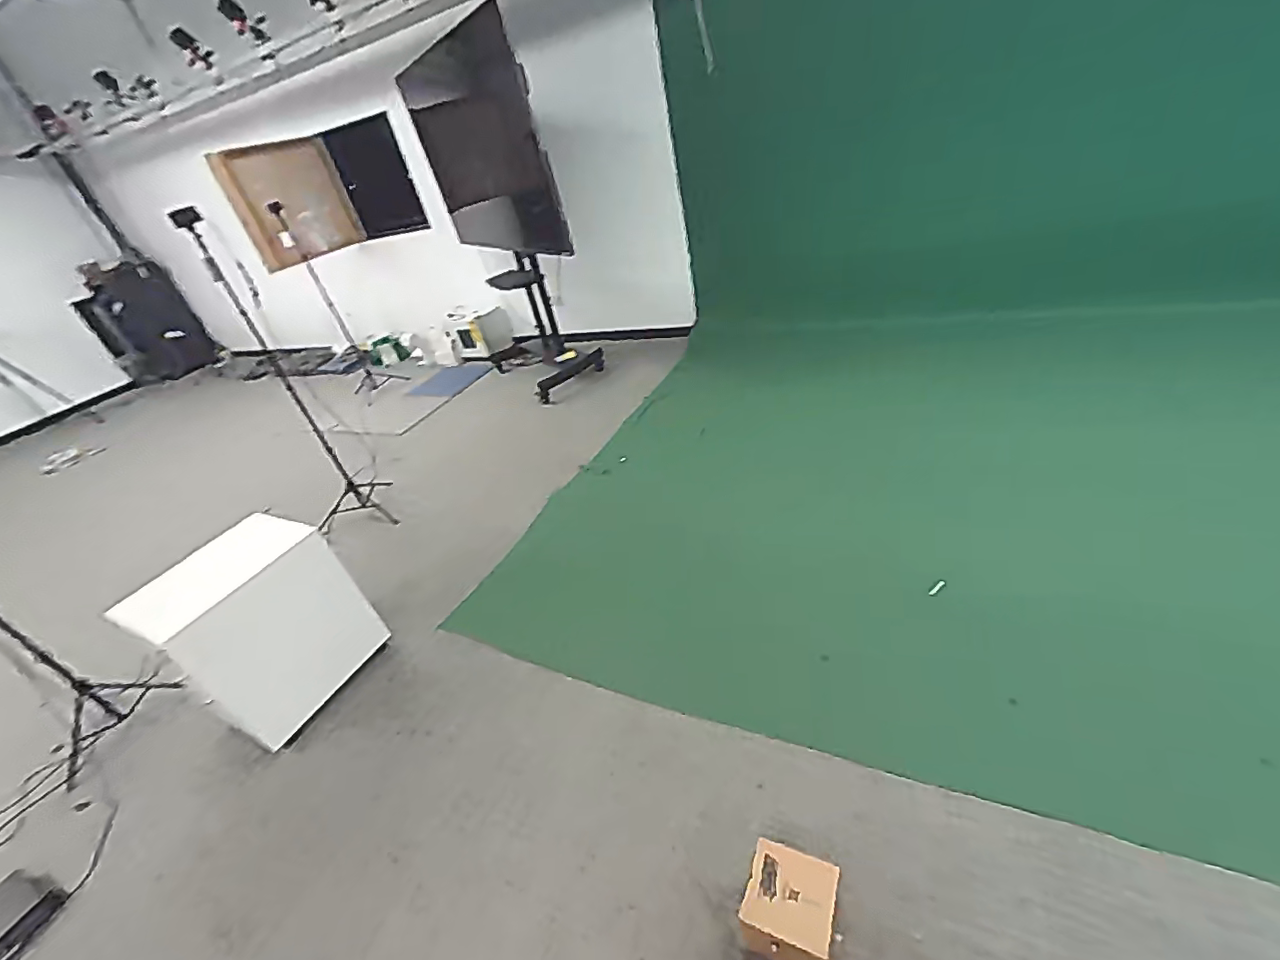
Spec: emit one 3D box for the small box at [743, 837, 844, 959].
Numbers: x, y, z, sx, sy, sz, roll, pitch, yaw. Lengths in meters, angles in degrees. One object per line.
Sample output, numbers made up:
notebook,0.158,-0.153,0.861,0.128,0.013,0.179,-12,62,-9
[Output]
small box,0.331,0.911,1.150,0.179,0.176,0.168,6,37,26
